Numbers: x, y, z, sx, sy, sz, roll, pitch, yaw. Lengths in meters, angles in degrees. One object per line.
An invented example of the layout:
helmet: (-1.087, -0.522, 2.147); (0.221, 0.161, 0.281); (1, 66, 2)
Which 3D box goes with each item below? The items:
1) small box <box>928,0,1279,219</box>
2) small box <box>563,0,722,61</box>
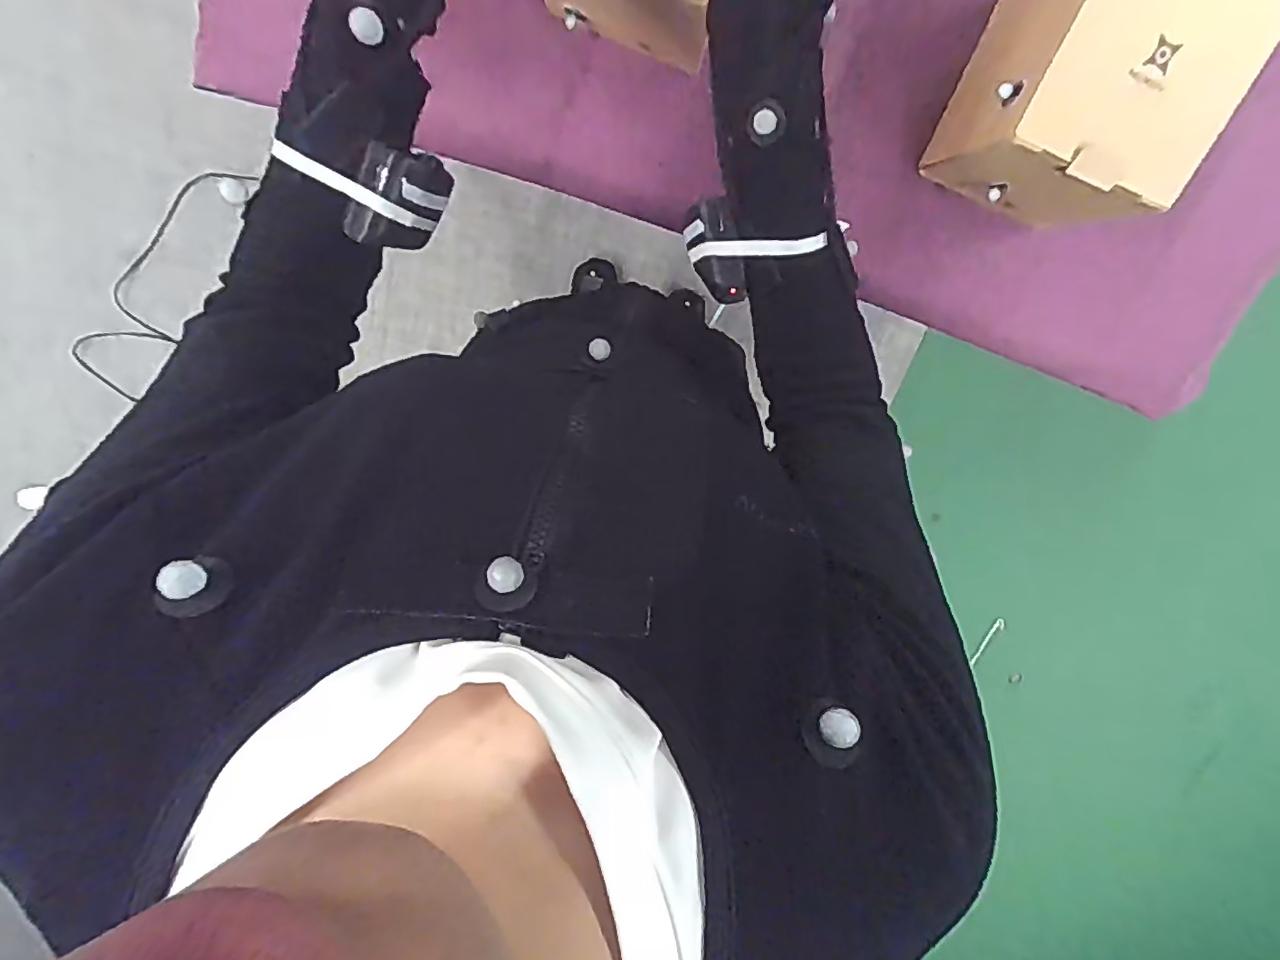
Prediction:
small box: (0.416, -0.370, 0.513); (0.168, 0.176, 0.179); (19, 111, -8)
small box: (0.012, -0.502, 0.458); (0.168, 0.176, 0.179); (18, 111, -8)
